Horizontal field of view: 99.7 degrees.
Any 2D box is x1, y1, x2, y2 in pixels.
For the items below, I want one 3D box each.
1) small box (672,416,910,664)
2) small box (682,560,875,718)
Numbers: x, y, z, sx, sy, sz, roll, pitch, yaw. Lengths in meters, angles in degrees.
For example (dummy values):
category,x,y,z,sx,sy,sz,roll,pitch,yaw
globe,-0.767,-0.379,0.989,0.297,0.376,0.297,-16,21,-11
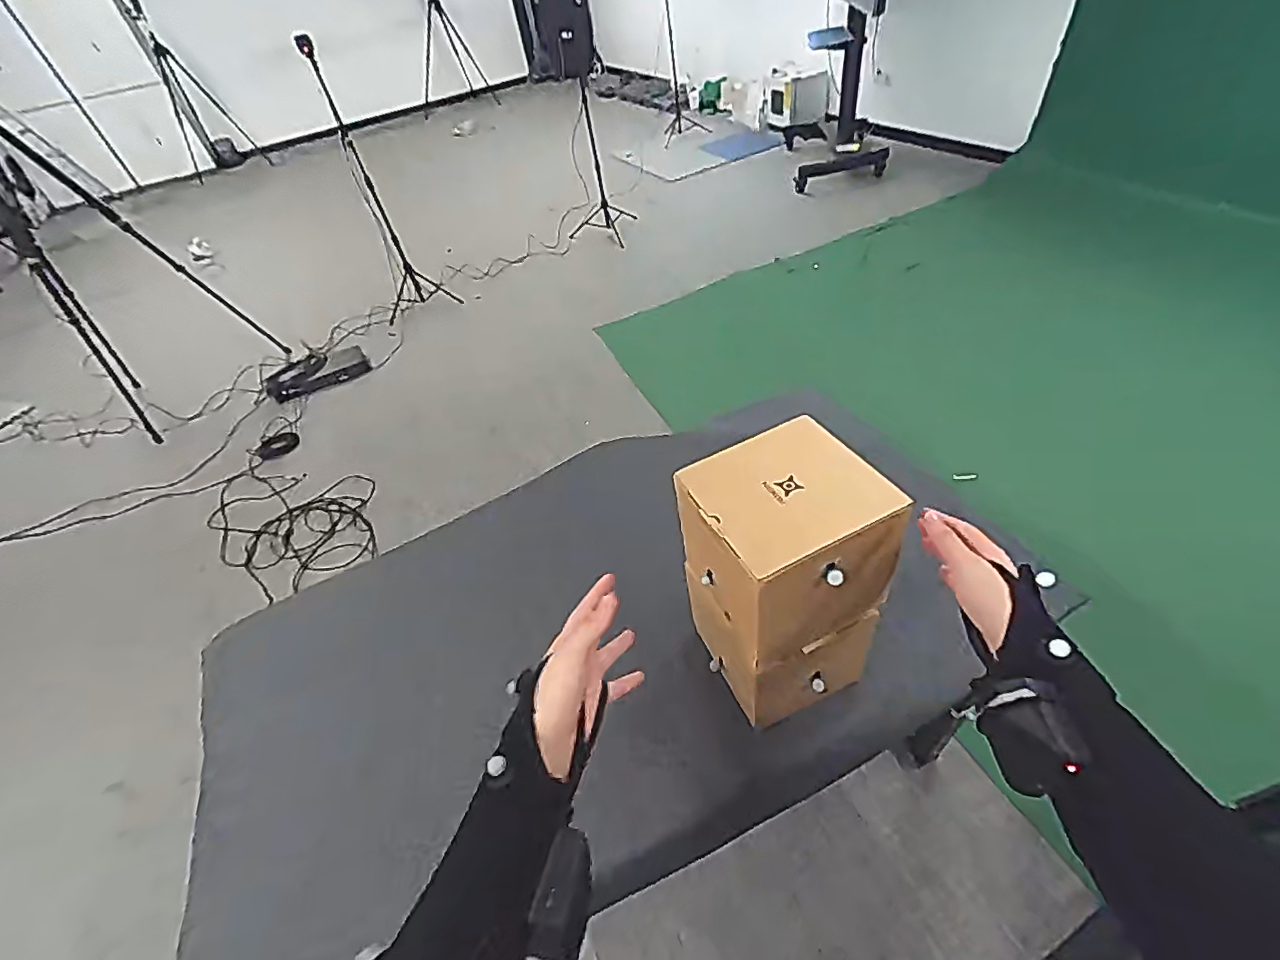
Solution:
category,x,y,z,sx,sy,sz,roll,pitch,yaw
small box,0.154,0.066,0.594,0.179,0.176,0.168,-25,45,-11
small box,0.173,0.184,0.706,0.168,0.176,0.179,-23,45,-10
